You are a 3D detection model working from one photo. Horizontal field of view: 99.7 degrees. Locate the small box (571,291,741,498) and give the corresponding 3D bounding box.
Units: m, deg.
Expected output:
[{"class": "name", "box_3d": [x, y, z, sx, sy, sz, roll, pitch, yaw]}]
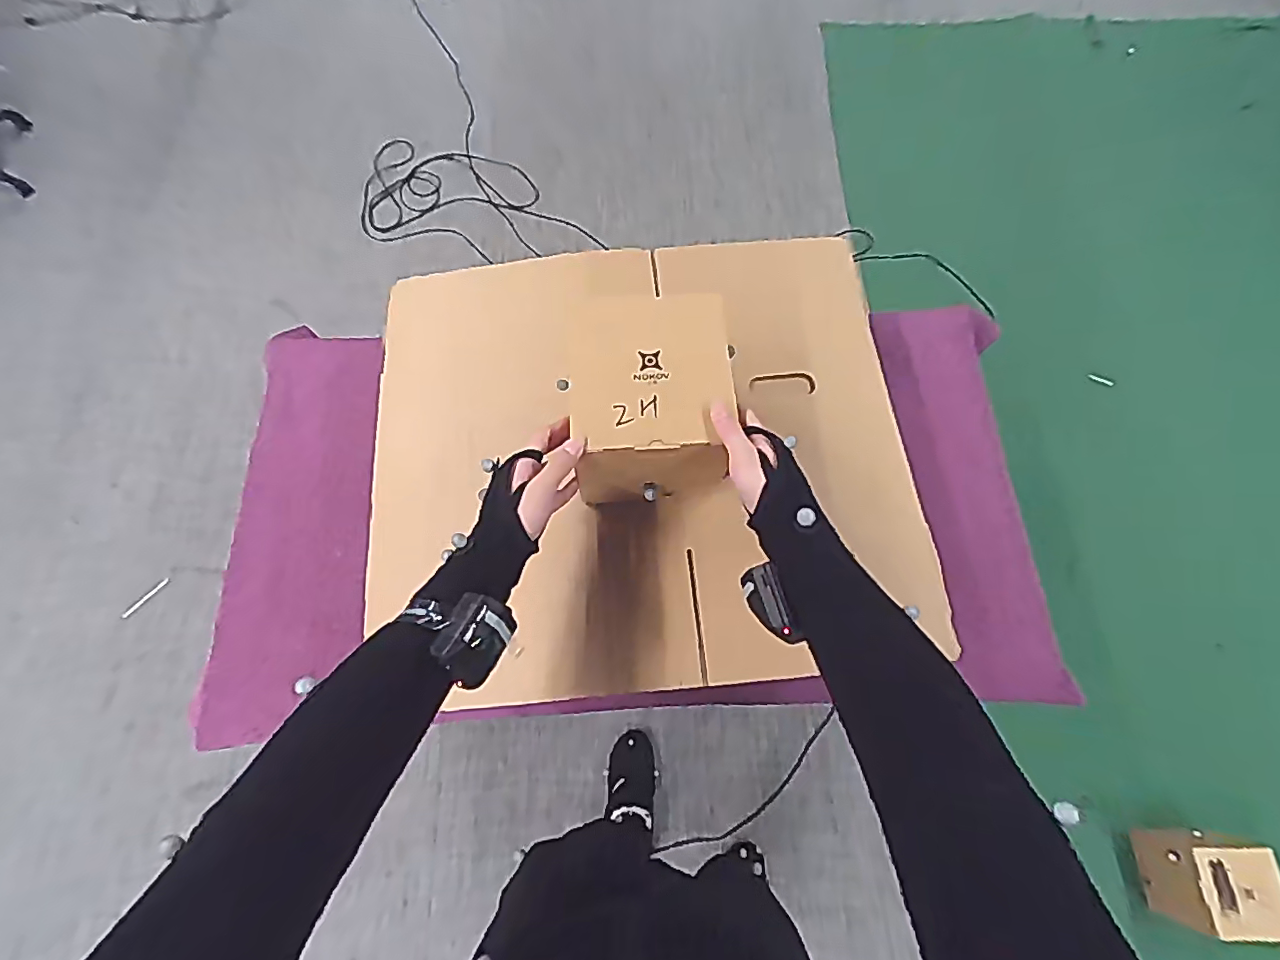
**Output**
[{"class": "small box", "box_3d": [0.009, -0.089, 0.614, 0.168, 0.176, 0.179, -3, 71, -2]}]
